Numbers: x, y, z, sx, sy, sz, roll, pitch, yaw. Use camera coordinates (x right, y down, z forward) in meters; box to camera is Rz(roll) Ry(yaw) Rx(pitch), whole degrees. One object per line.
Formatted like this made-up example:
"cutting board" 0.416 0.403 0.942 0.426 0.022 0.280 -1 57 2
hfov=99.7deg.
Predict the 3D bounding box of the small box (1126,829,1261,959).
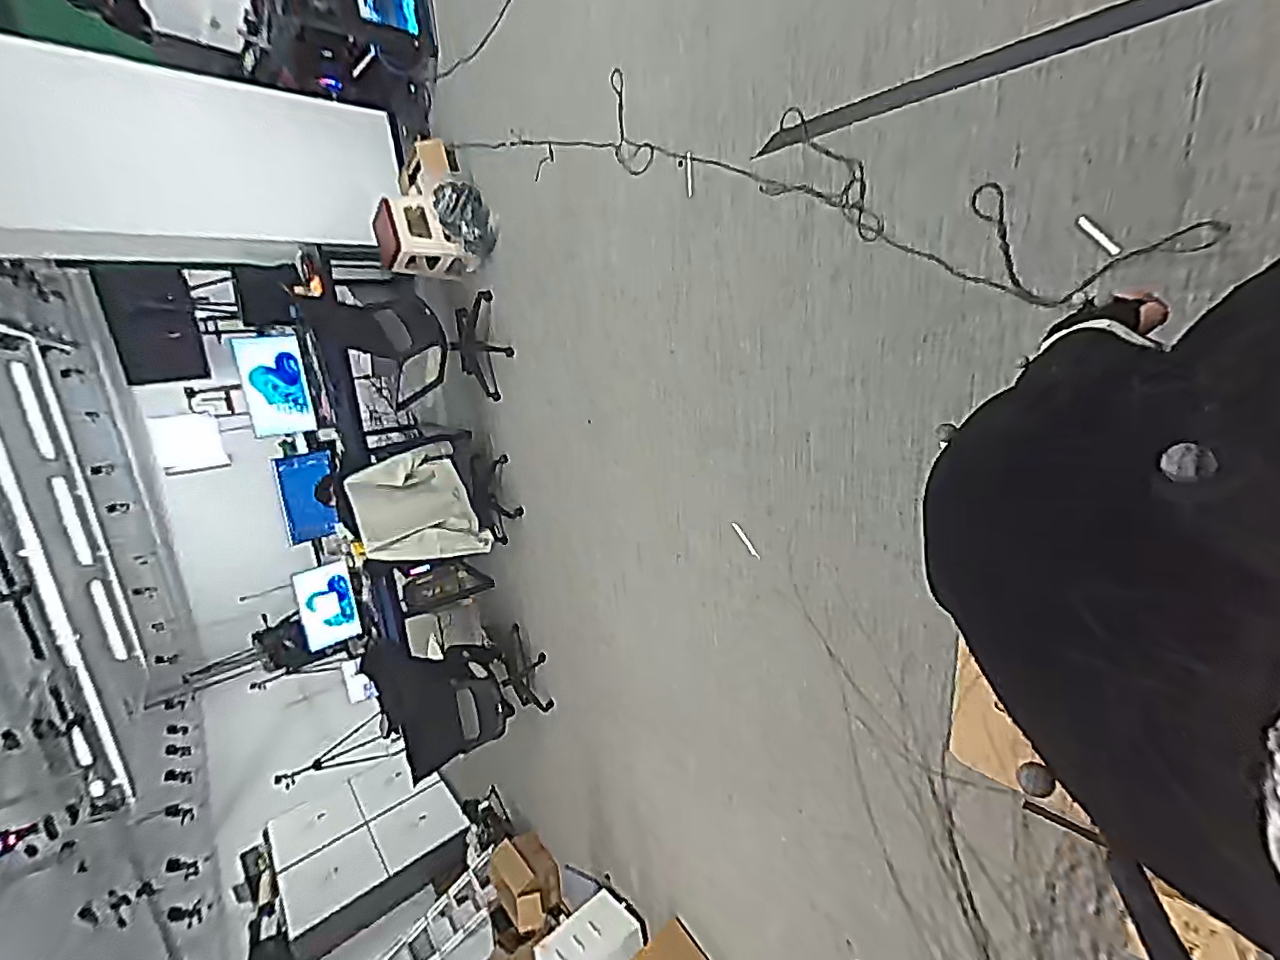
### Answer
"small box" 1.062 0.832 1.039 0.168 0.176 0.179 5 107 49
